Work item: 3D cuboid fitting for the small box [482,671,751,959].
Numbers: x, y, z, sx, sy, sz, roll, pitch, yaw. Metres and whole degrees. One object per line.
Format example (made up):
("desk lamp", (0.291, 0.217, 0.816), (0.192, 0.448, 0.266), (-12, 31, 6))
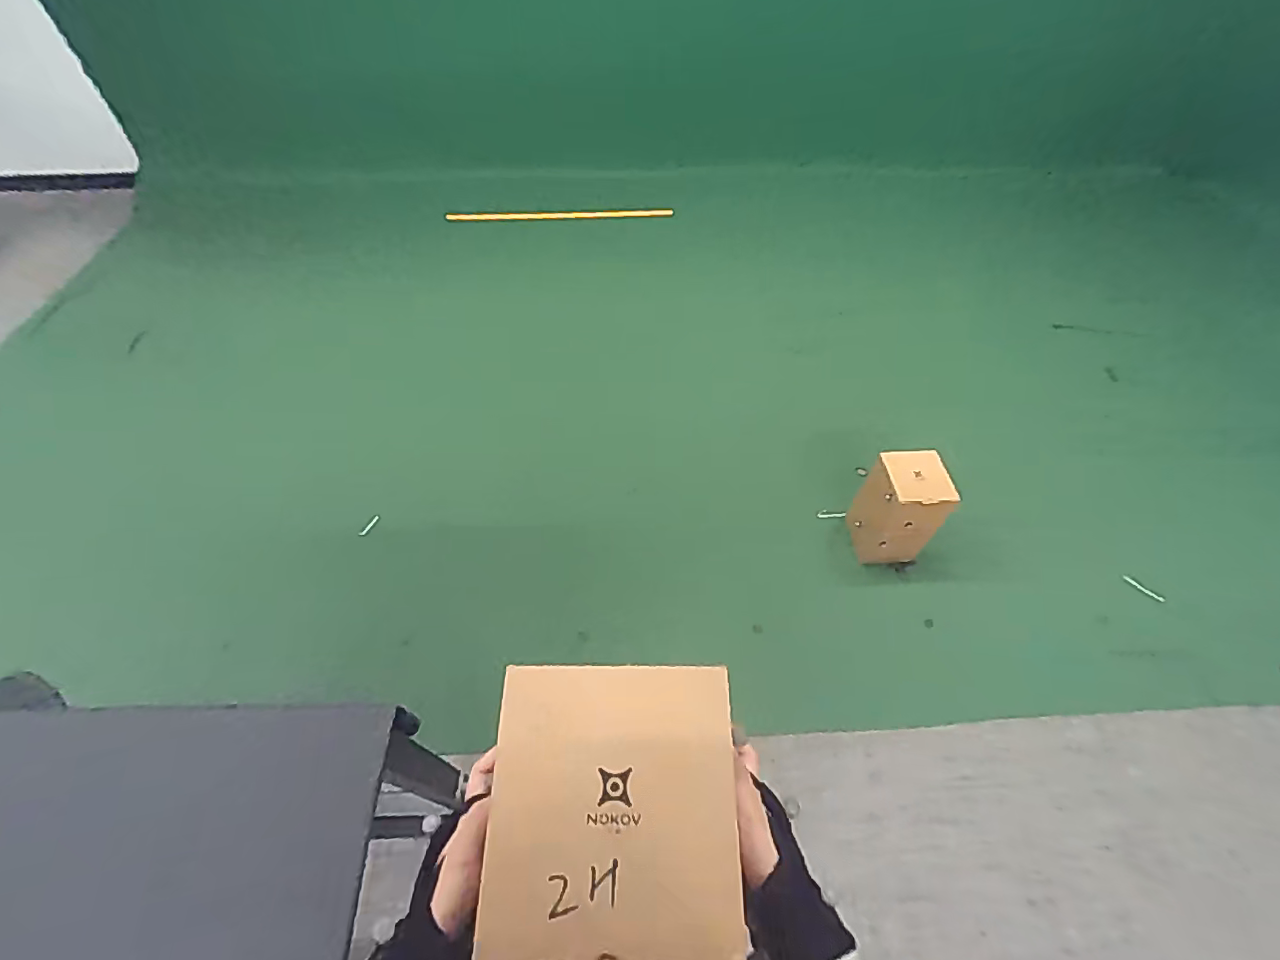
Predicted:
("small box", (-0.010, 0.260, 0.433), (0.168, 0.176, 0.179), (-1, 60, 3))

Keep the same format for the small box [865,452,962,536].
("small box", (0.761, 0.040, 1.529), (0.168, 0.176, 0.179), (-3, 52, -2))
